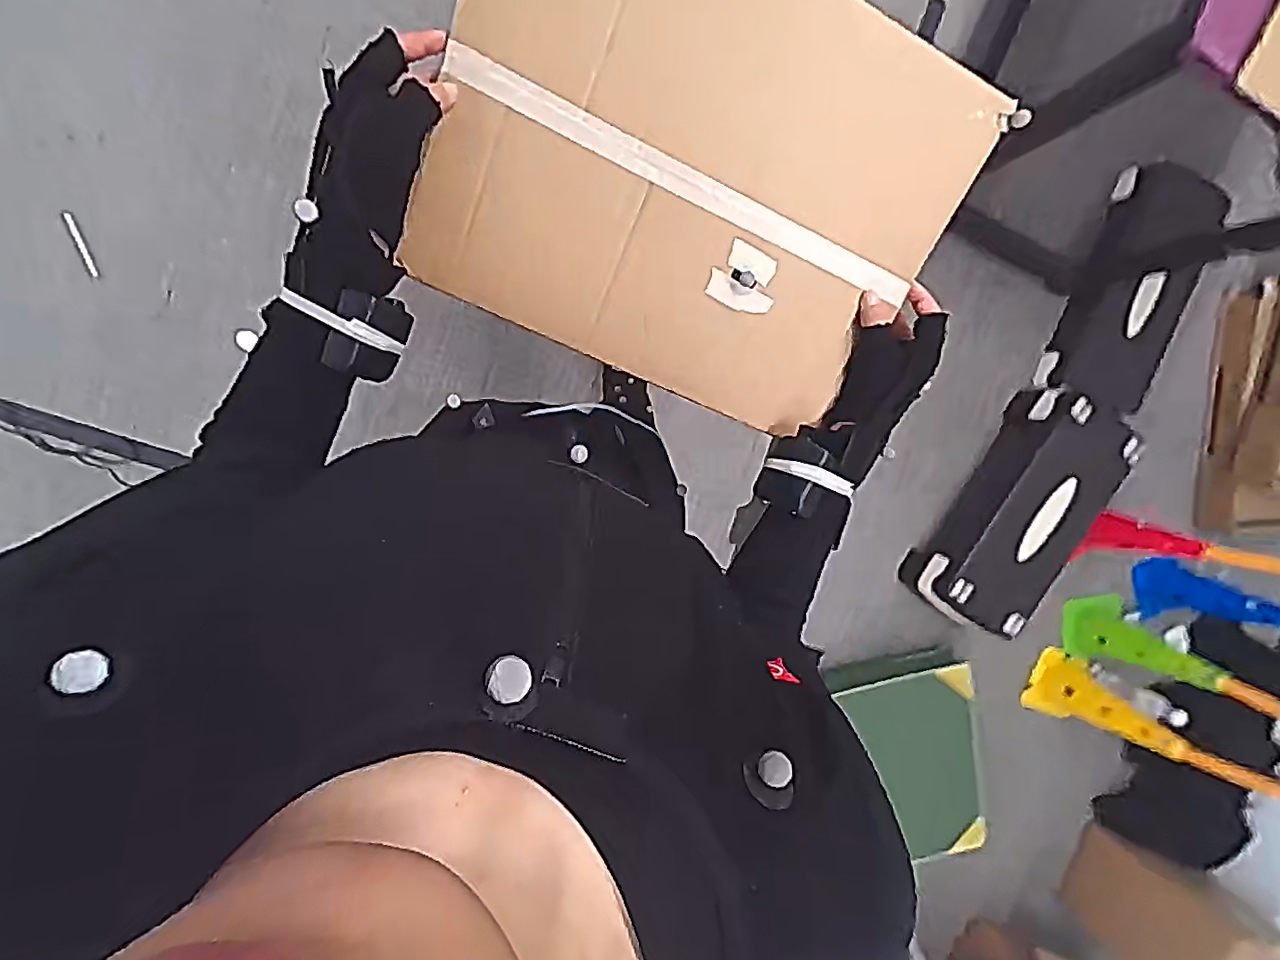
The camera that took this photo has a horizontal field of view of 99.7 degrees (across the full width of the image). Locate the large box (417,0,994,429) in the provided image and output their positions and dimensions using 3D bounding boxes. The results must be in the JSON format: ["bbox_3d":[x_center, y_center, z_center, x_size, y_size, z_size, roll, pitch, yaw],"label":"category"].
[{"bbox_3d":[0.037,-0.303,0.583,0.408,0.320,0.320,21,111,-13],"label":"large box"}]
